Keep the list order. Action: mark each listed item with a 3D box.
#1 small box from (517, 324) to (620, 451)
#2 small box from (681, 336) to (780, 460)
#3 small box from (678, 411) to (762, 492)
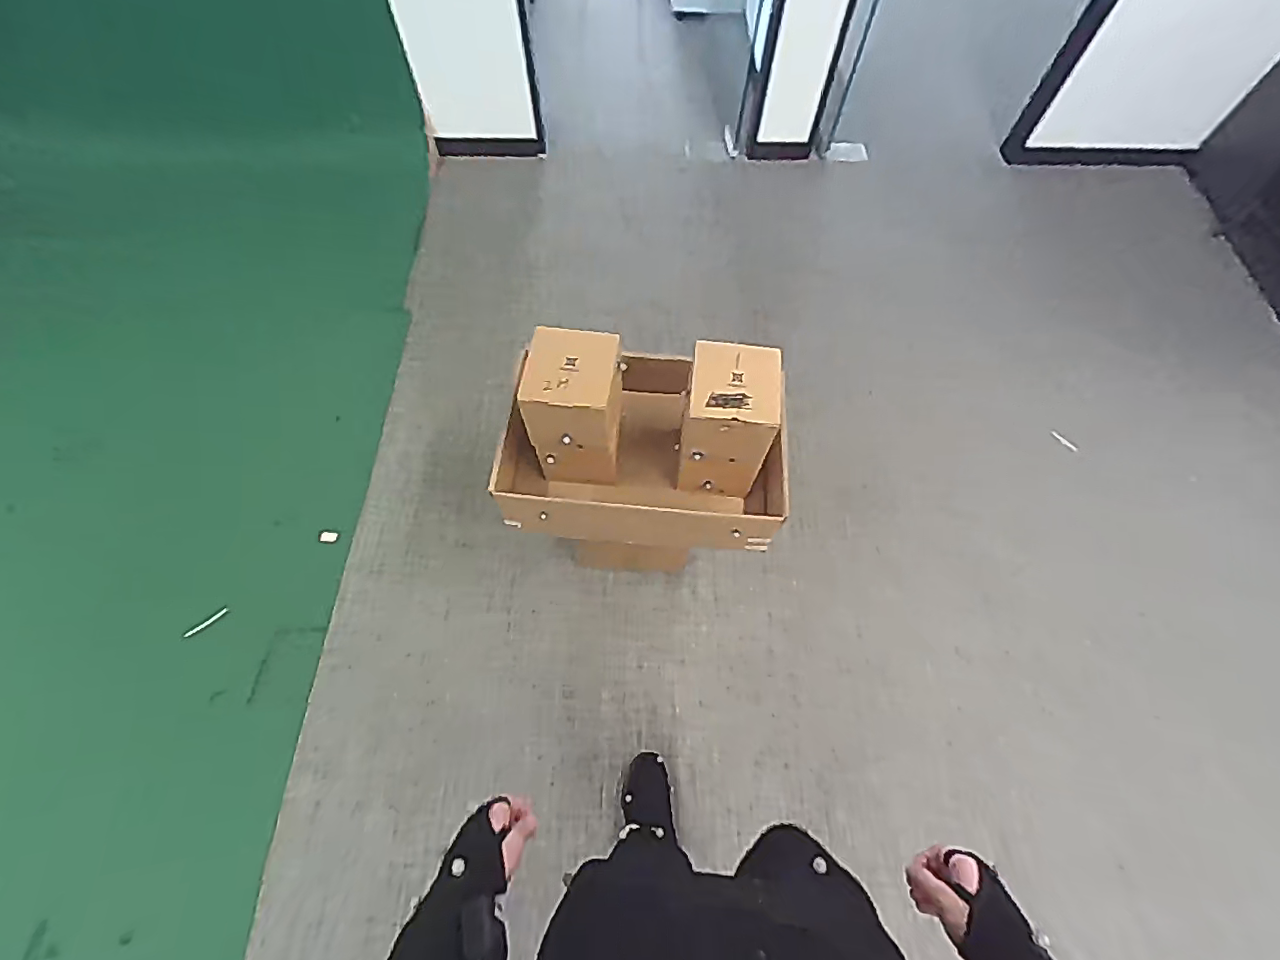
[{"bbox_3d":[-0.132,-0.179,1.073,0.168,0.176,0.179,6,65,3],"label":"small box"},{"bbox_3d":[0.173,-0.155,1.063,0.168,0.176,0.179,6,65,2],"label":"small box"},{"bbox_3d":[0.175,-0.091,1.215,0.168,0.176,0.179,5,66,1],"label":"small box"}]
